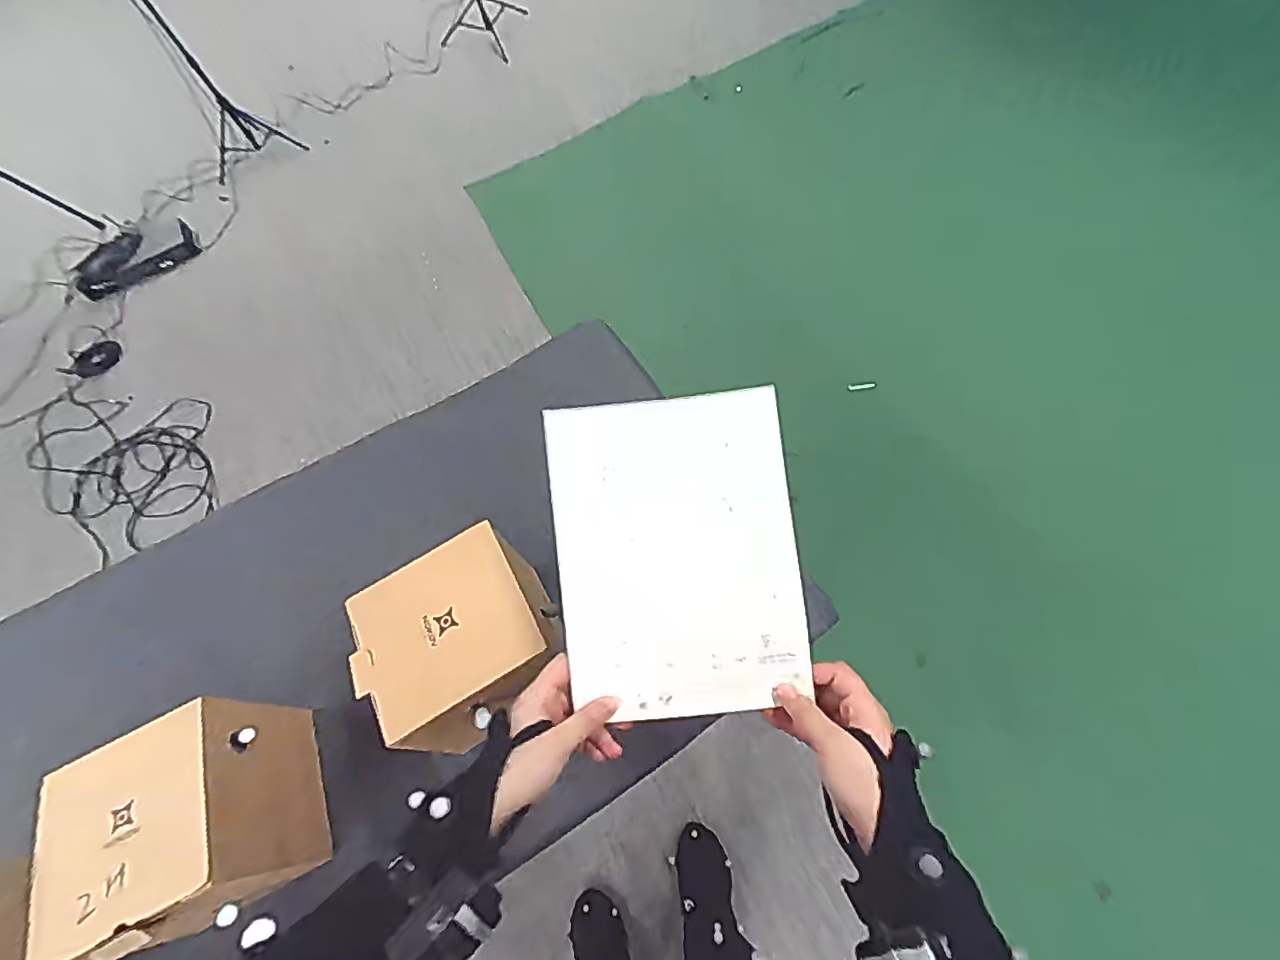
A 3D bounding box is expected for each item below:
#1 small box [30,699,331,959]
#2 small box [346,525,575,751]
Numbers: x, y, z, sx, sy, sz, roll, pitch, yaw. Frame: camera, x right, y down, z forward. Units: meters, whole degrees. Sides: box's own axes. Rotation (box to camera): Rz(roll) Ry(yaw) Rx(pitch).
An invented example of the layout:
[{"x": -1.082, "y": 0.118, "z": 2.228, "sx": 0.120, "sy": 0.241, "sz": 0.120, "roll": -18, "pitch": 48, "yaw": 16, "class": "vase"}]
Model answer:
[{"x": -0.466, "y": 0.361, "z": 0.574, "sx": 0.168, "sy": 0.176, "sz": 0.179, "roll": -28, "pitch": 62, "yaw": -5, "class": "small box"}, {"x": -0.189, "y": 0.185, "z": 0.620, "sx": 0.179, "sy": 0.176, "sz": 0.168, "roll": -31, "pitch": 62, "yaw": -6, "class": "small box"}]
